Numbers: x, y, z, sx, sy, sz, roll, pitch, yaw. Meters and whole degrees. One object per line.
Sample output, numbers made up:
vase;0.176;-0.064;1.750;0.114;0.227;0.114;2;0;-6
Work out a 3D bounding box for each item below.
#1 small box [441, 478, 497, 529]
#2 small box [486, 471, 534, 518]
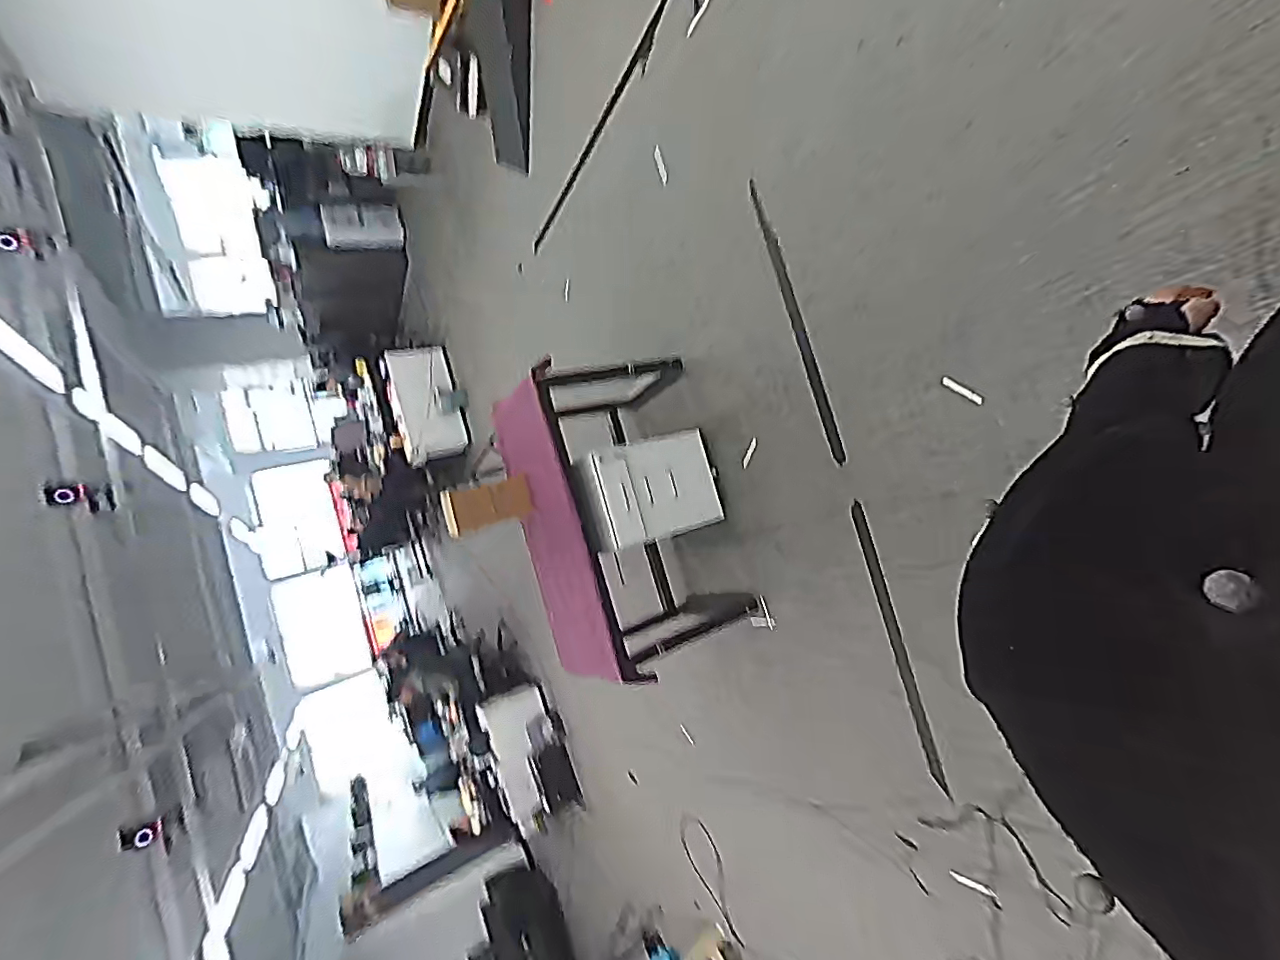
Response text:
small box;-0.718;0.100;2.278;0.168;0.176;0.179;-12;93;58
small box;-0.582;0.063;2.362;0.168;0.176;0.179;-15;90;59
